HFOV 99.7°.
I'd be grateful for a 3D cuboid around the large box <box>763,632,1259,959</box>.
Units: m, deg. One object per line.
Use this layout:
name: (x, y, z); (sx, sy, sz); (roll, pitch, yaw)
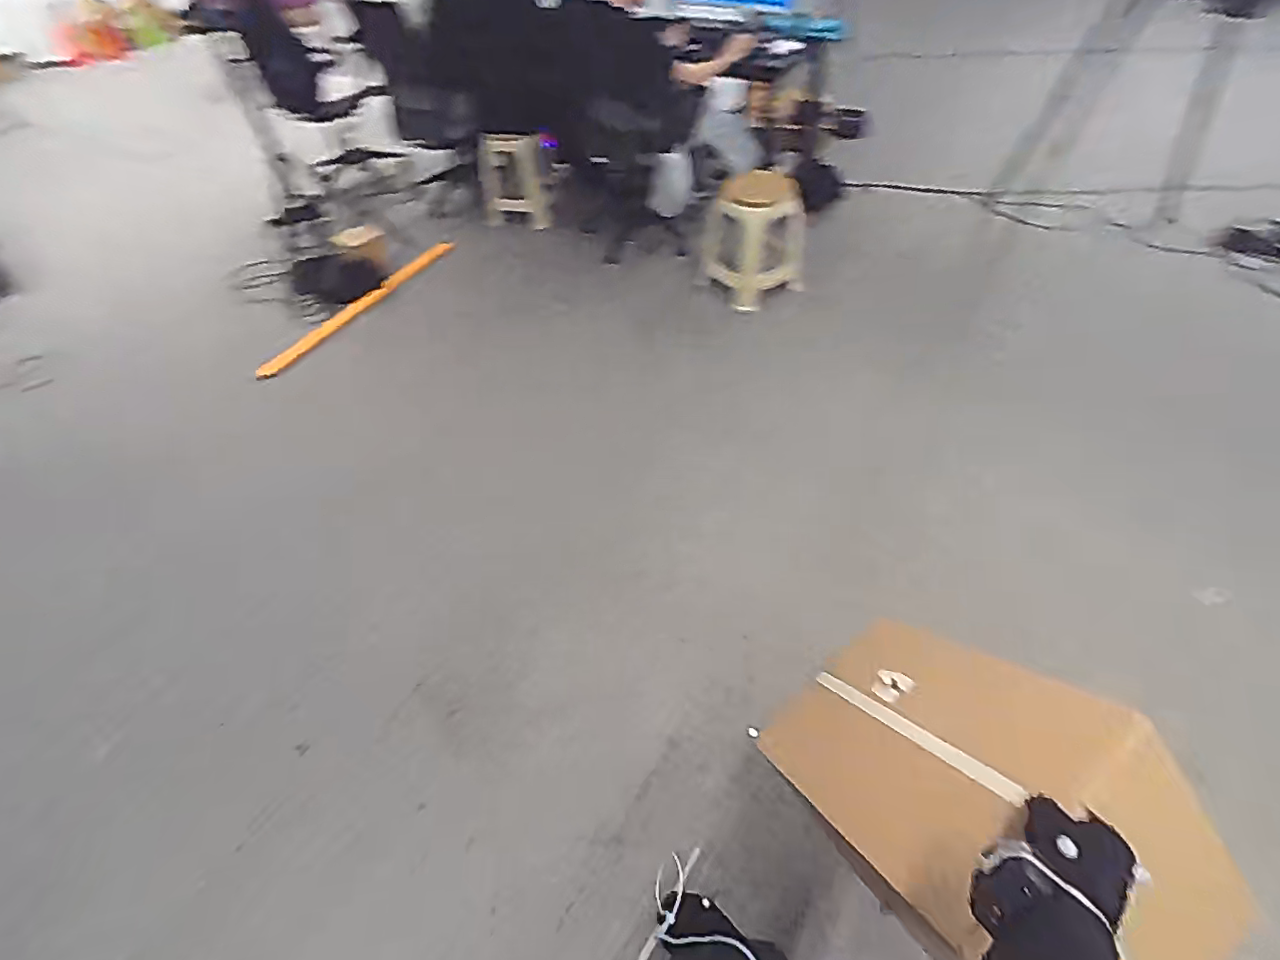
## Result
large box: (0.455, 0.472, 0.744); (0.320, 0.408, 0.320); (-38, 99, -12)
